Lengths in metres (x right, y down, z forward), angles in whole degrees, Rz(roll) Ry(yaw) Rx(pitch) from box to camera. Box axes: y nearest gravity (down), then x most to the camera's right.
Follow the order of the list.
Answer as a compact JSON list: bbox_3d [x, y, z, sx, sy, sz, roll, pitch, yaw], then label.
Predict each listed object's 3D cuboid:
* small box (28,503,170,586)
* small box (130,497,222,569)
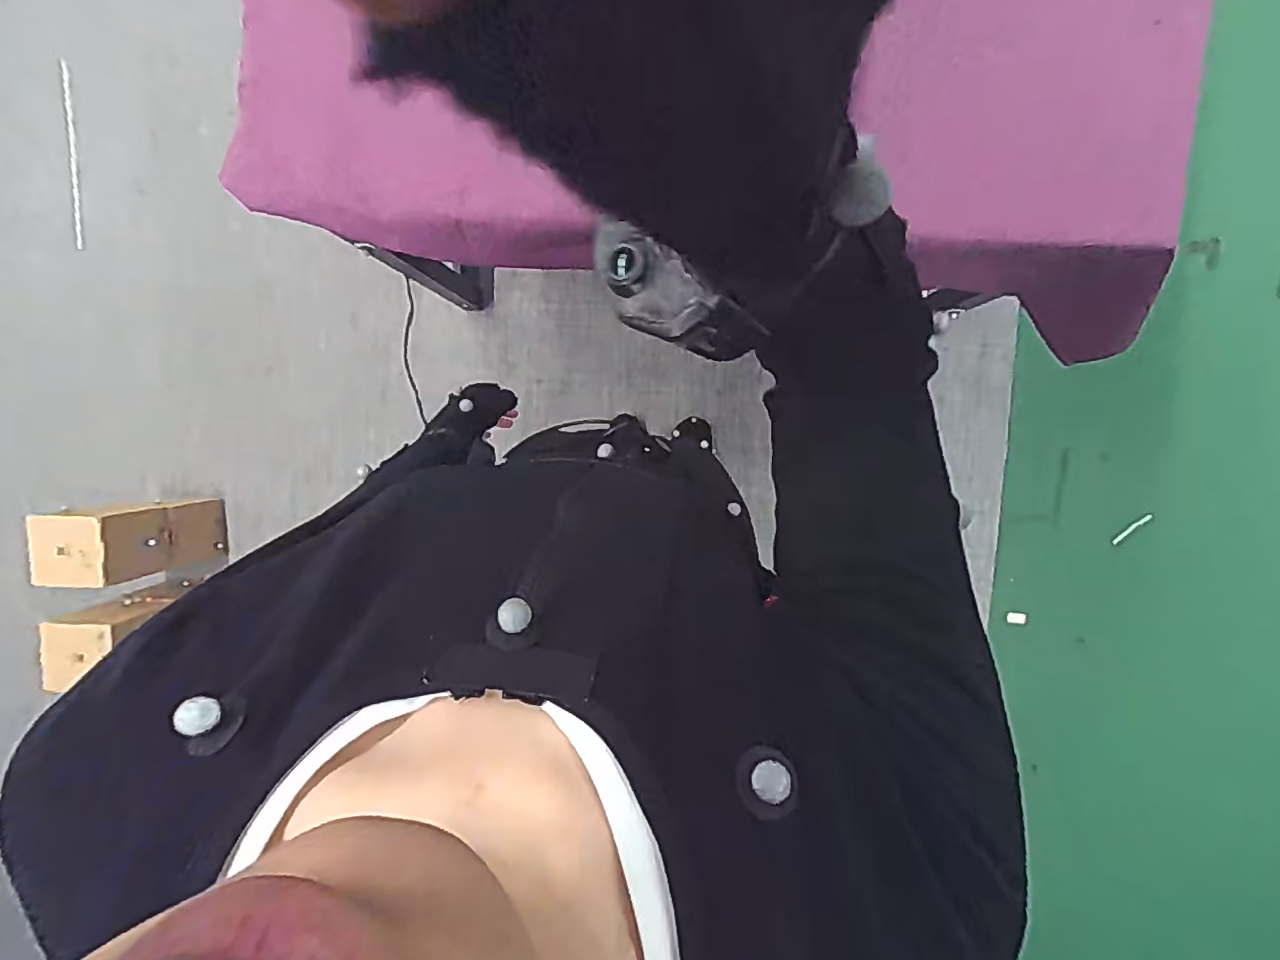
[{"bbox_3d":[-1.284,0.149,1.293,0.179,0.176,0.168,1,96,3],"label":"small box"},{"bbox_3d":[-1.269,0.137,1.457,0.179,0.176,0.168,1,95,3],"label":"small box"}]
